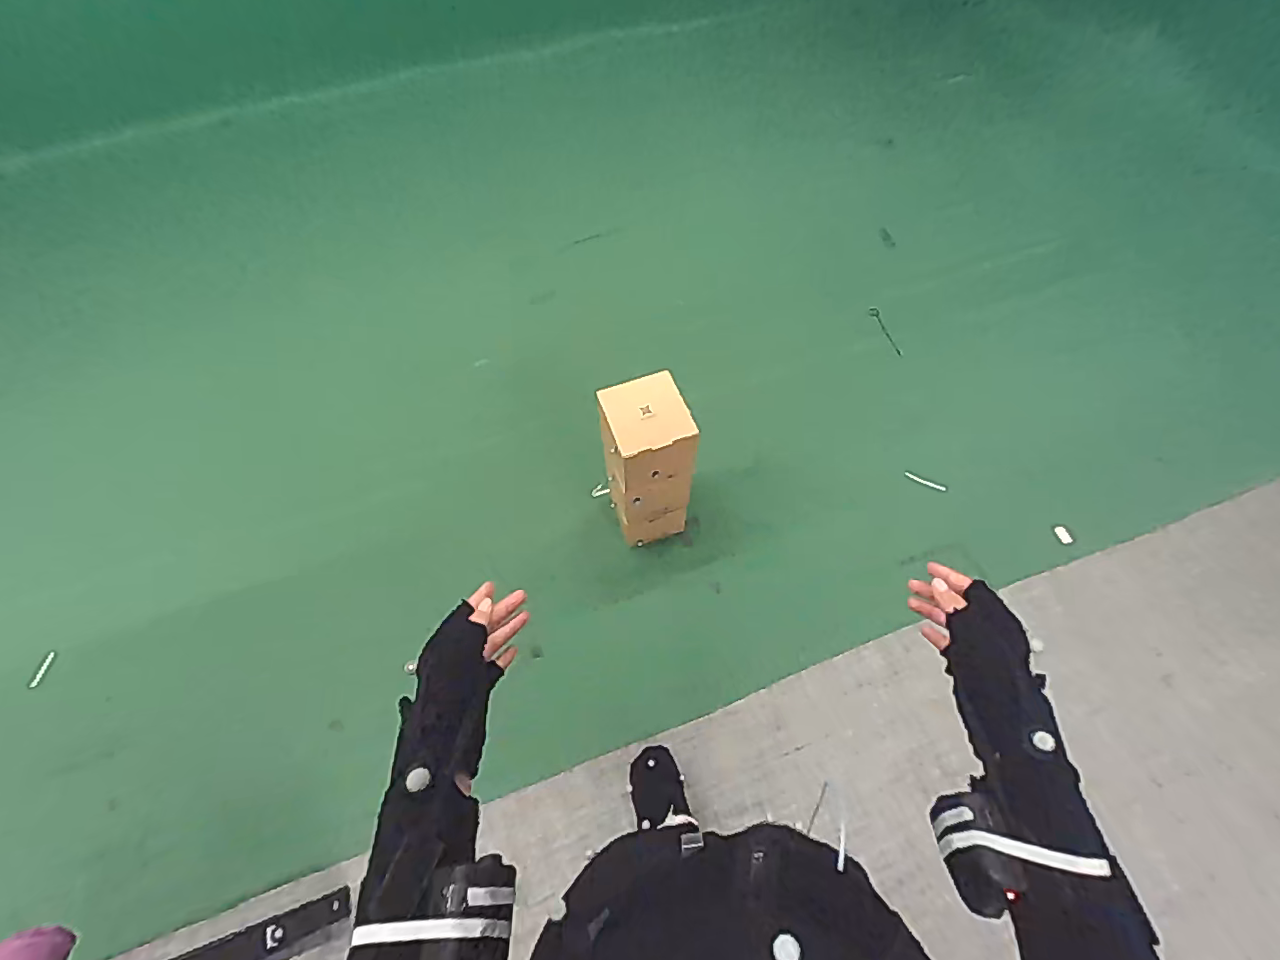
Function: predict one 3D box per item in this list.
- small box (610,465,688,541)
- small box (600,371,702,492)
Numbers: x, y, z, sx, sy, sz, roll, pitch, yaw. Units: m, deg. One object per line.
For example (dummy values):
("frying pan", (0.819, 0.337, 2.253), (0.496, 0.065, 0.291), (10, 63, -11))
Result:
("small box", (0.024, 0.052, 1.471), (0.168, 0.176, 0.179), (-17, 63, -7))
("small box", (0.020, -0.102, 1.181), (0.168, 0.176, 0.179), (-19, 64, -9))
